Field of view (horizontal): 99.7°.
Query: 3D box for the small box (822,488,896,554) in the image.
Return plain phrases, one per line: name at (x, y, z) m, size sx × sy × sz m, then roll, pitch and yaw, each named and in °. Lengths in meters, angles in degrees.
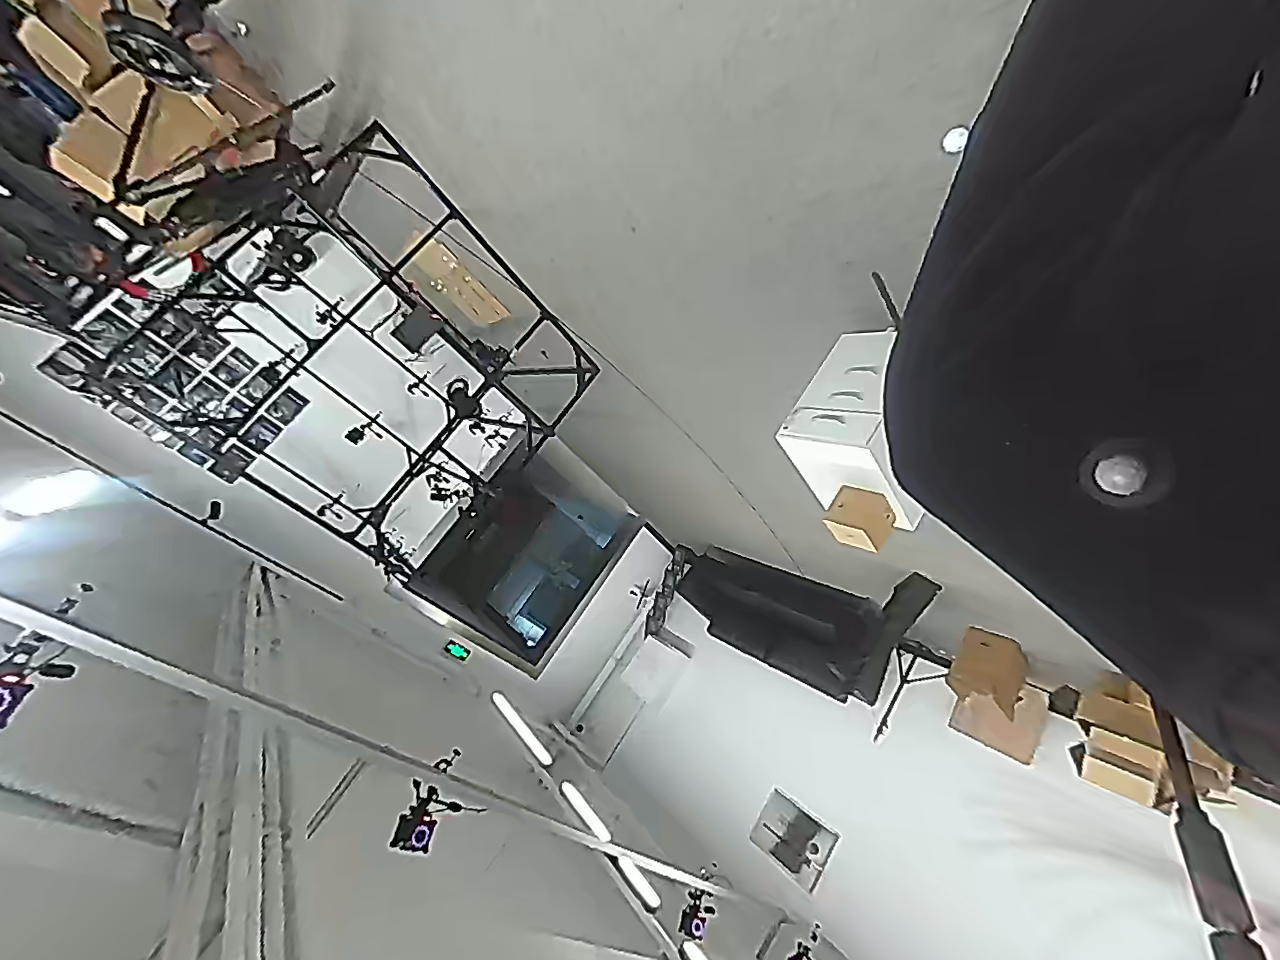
small box at (0.830, 0.150, 2.045) m, size 0.179 × 0.176 × 0.168 m, roll 17°, pitch 157°, yaw 51°
